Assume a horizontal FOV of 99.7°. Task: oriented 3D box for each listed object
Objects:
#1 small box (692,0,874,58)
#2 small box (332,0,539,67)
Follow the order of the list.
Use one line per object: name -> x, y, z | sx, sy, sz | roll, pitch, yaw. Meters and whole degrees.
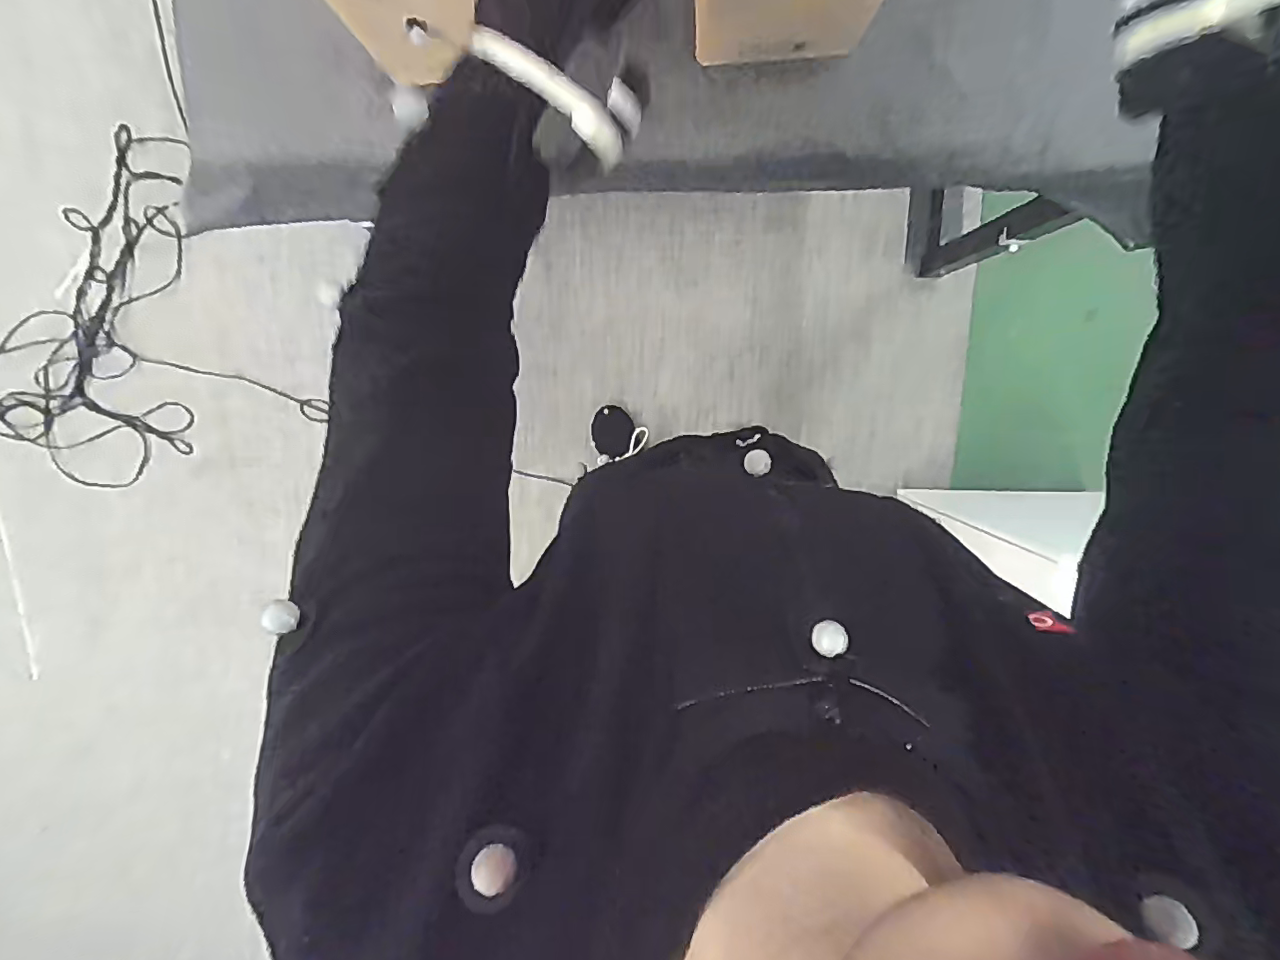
small box -> 0.132, -0.519, 0.473 | 0.168, 0.176, 0.179 | -3, 99, 2
small box -> -0.192, -0.505, 0.480 | 0.168, 0.176, 0.179 | -4, 99, 2
